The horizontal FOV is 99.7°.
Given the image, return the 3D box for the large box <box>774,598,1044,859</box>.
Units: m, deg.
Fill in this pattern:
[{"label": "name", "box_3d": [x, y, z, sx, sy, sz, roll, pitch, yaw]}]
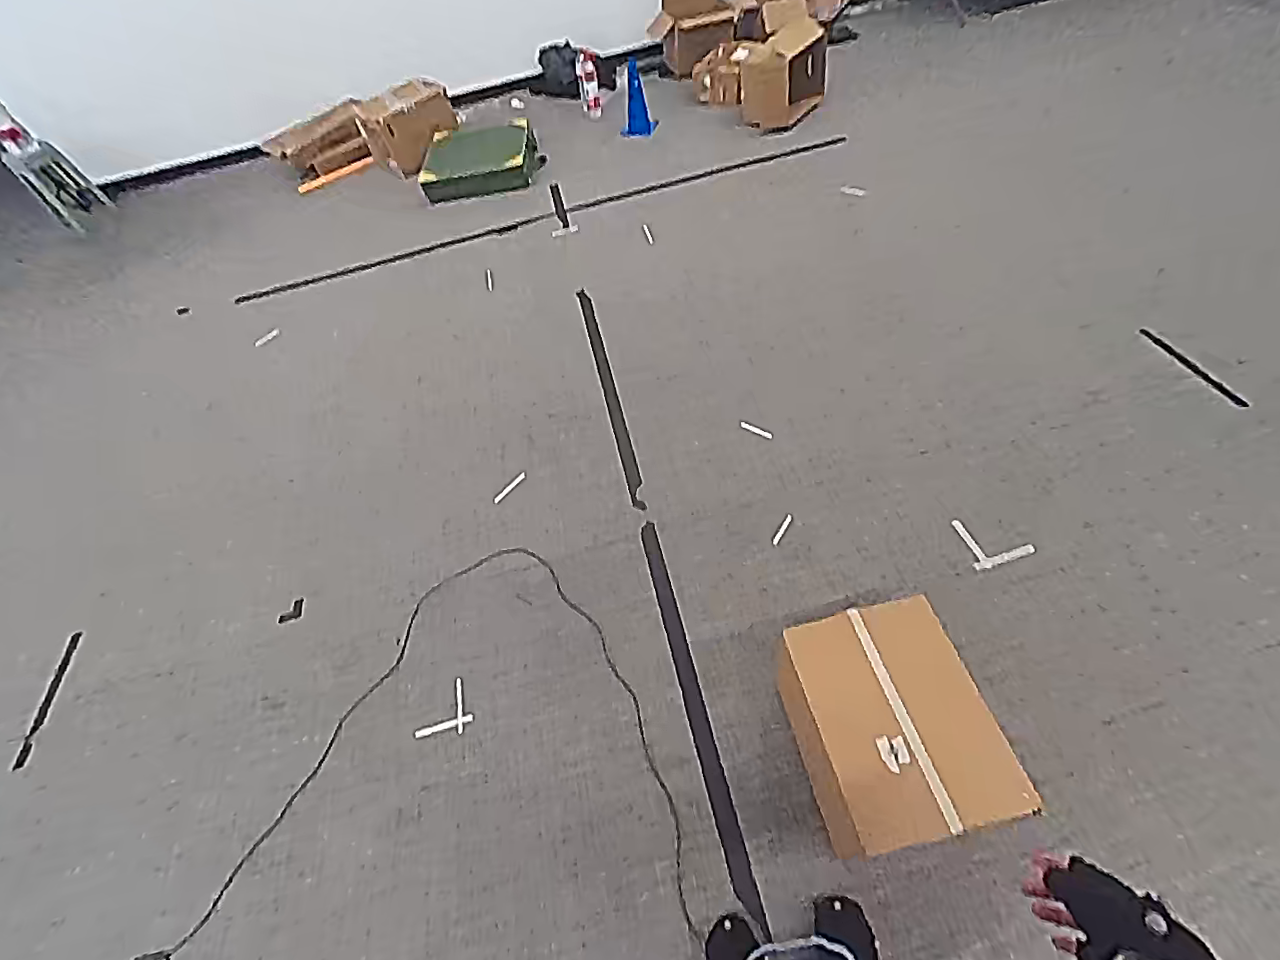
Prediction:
[{"label": "large box", "box_3d": [0.511, 0.523, 1.143, 0.320, 0.320, 0.408, -15, 54, 0]}]
